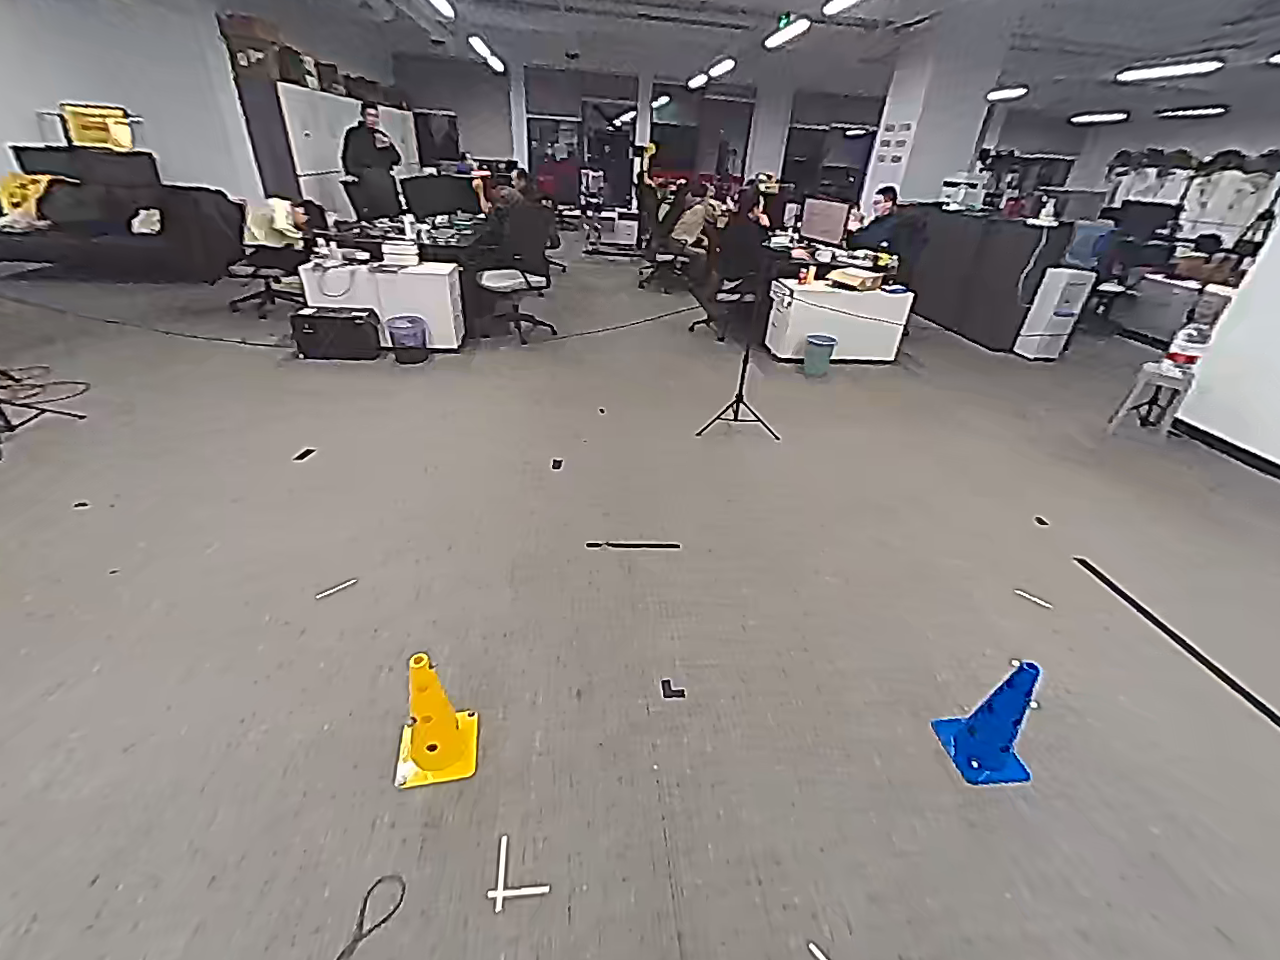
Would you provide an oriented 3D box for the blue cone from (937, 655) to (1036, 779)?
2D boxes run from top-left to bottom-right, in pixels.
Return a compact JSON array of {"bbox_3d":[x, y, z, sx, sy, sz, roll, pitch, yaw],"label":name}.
[{"bbox_3d":[0.997,0.632,1.483,0.193,0.380,0.192,1,30,-6],"label":"blue cone"}]
